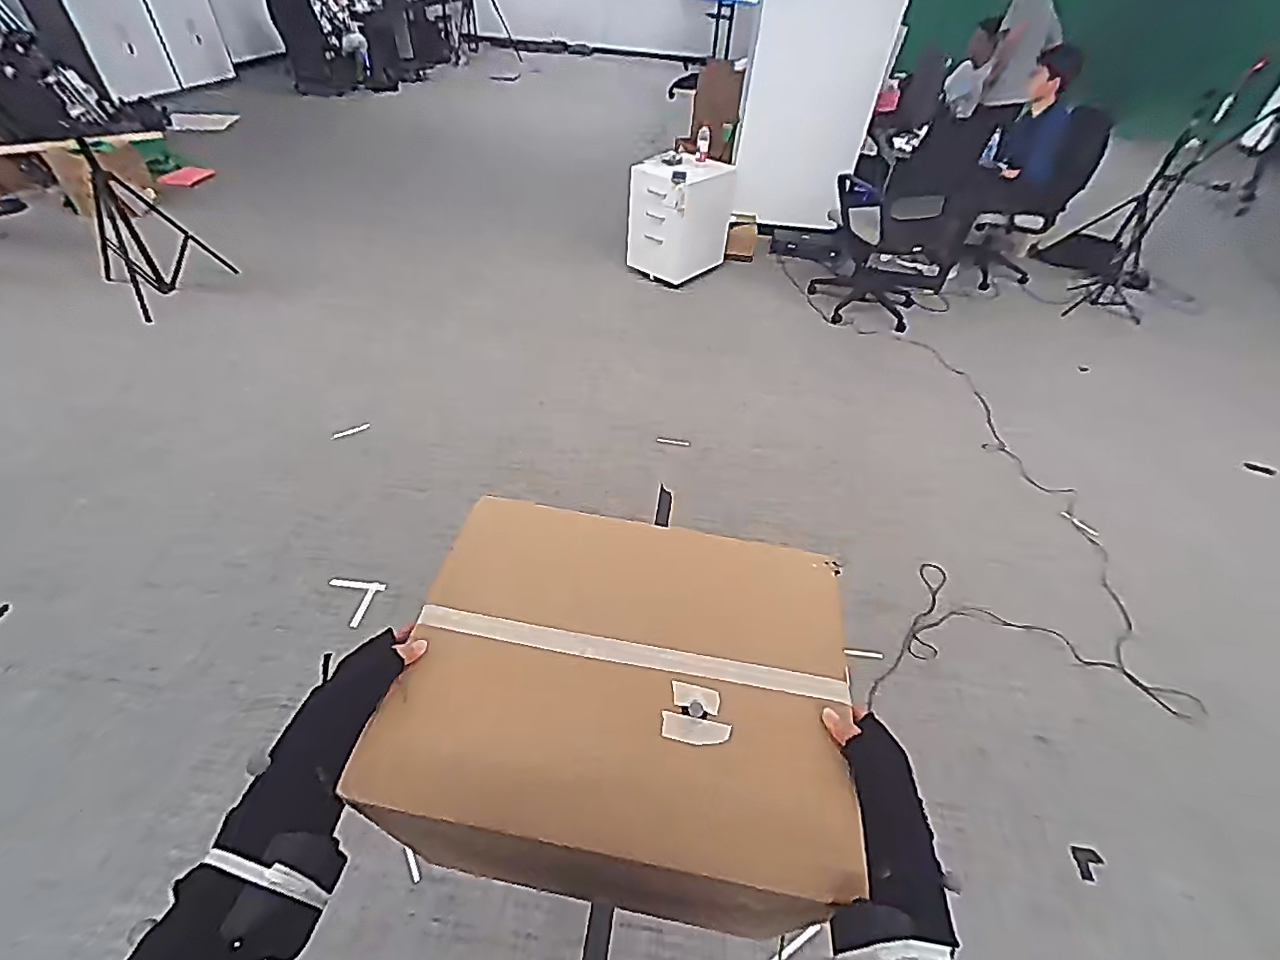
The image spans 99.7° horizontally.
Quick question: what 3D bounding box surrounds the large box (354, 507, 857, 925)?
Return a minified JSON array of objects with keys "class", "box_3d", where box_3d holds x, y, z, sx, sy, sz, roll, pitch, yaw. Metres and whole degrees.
[{"class":"large box","box_3d":[-0.022,0.270,0.622,0.408,0.320,0.320,10,48,3]}]
